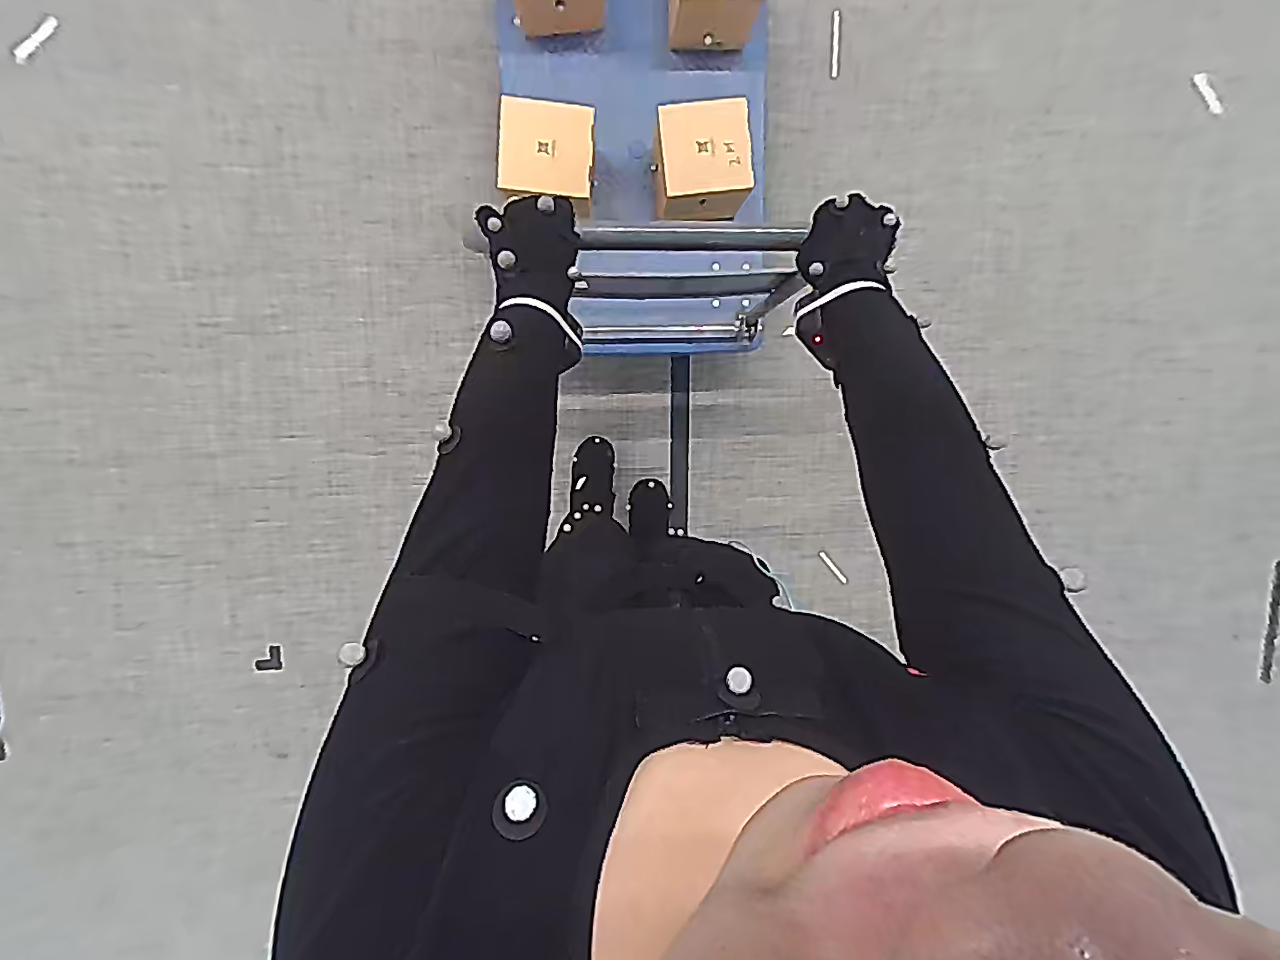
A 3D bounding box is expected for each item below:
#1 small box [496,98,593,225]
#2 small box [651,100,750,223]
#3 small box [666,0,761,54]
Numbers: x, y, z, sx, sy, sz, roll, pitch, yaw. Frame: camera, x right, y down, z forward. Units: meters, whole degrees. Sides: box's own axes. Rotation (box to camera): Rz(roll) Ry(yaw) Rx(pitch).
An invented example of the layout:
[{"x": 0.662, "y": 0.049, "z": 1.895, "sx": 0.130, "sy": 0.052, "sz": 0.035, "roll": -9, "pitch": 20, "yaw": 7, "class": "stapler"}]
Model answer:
[{"x": -0.188, "y": -0.639, "z": 1.106, "sx": 0.179, "sy": 0.176, "sz": 0.168, "roll": 3, "pitch": 97, "yaw": -6, "class": "small box"}, {"x": 0.118, "y": -0.651, "z": 1.125, "sx": 0.179, "sy": 0.176, "sz": 0.168, "roll": -7, "pitch": 99, "yaw": -3, "class": "small box"}, {"x": 0.141, "y": -1.000, "z": 1.077, "sx": 0.168, "sy": 0.176, "sz": 0.179, "roll": -2, "pitch": 99, "yaw": -3, "class": "small box"}]
